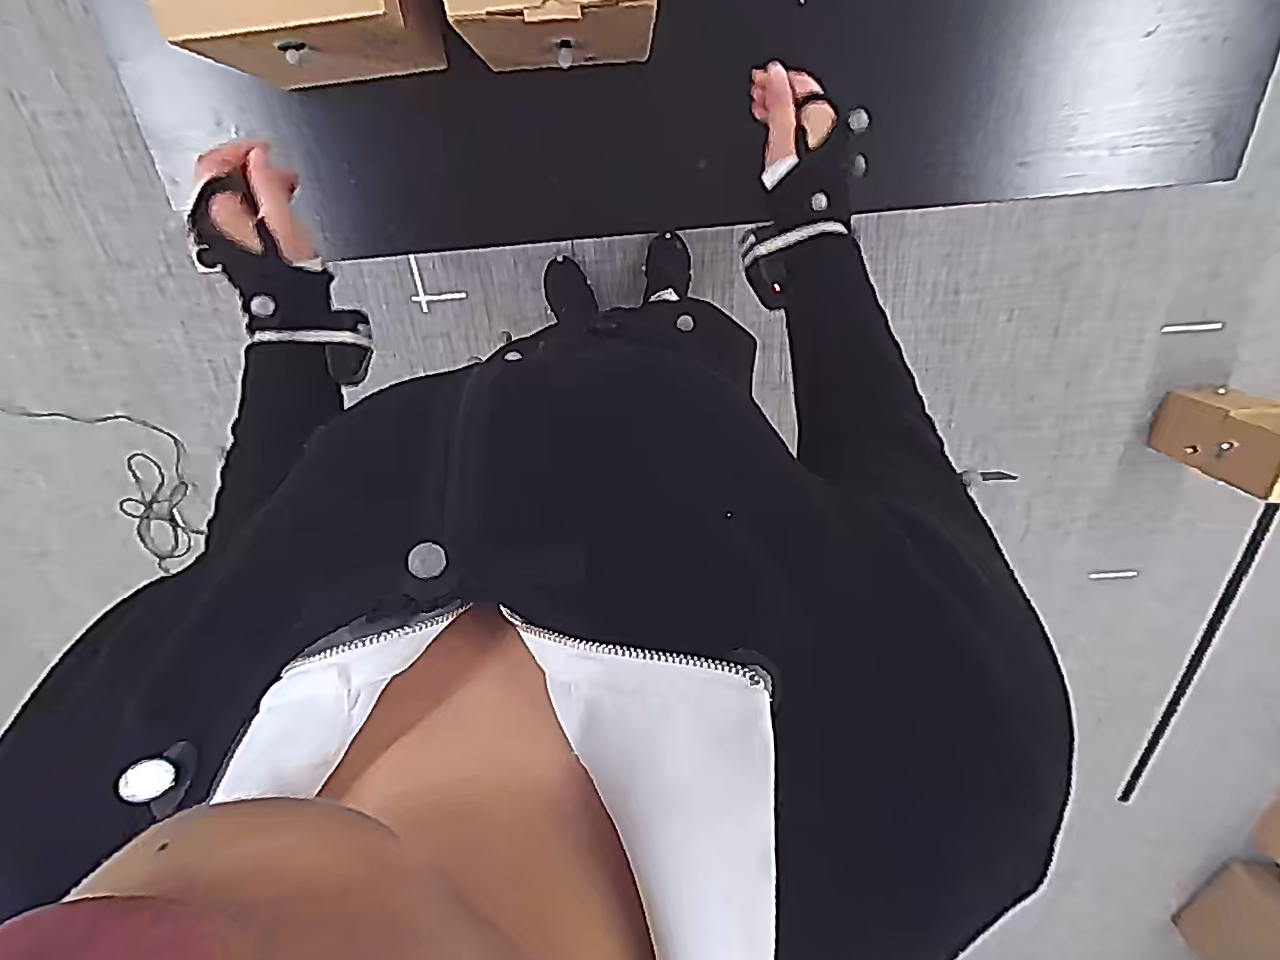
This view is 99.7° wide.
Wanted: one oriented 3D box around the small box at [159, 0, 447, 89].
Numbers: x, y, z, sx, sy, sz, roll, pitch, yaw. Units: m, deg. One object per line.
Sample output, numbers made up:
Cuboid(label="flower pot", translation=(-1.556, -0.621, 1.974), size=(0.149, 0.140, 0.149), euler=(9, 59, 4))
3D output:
Cuboid(label="small box", translation=(-0.291, -0.457, 0.463), size=(0.179, 0.176, 0.168), euler=(-7, 116, 1))

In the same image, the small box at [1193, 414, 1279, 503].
Cuboid(label="small box", translation=(1.548, -0.057, 1.328), size=(0.179, 0.176, 0.168), euler=(-3, 115, 2))

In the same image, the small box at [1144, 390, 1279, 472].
Cuboid(label="small box", translation=(1.540, -0.135, 1.471), size=(0.168, 0.176, 0.179), euler=(-3, 116, 0))
